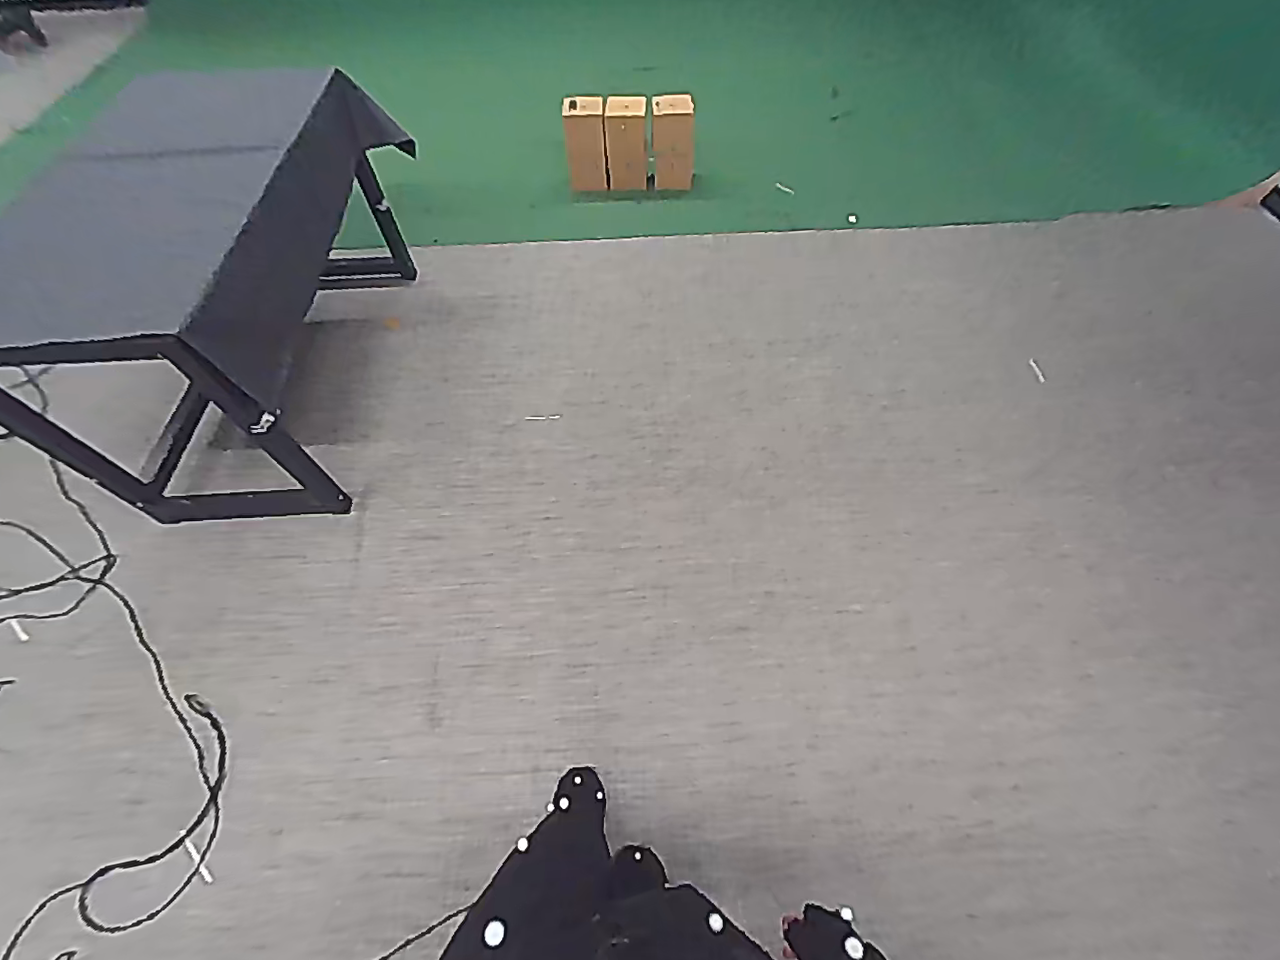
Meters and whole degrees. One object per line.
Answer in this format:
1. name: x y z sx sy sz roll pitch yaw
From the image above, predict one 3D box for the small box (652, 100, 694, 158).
1. small box: 0.144 -1.571 2.425 0.179 0.176 0.168 -2 57 -1
